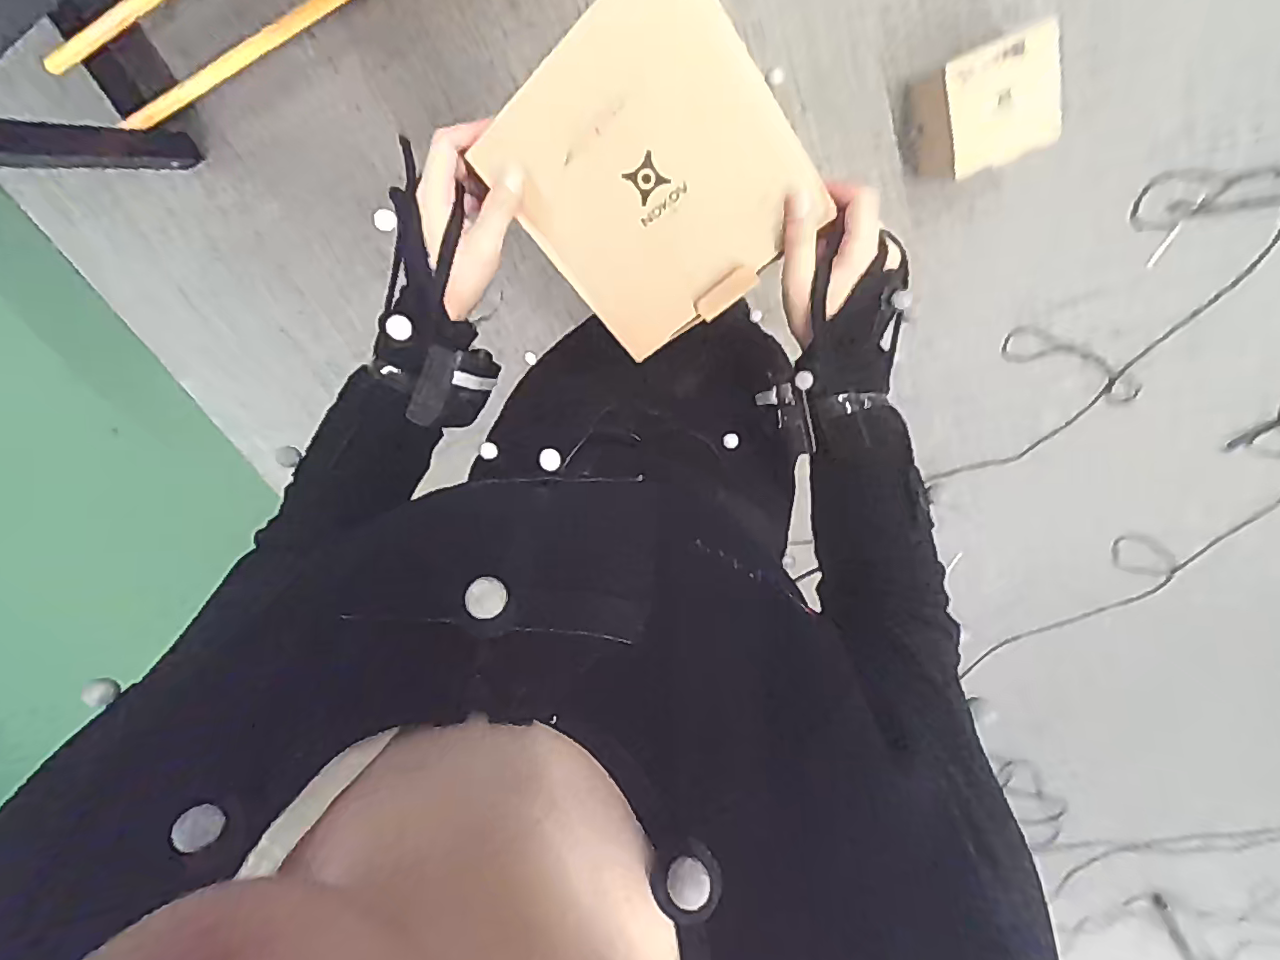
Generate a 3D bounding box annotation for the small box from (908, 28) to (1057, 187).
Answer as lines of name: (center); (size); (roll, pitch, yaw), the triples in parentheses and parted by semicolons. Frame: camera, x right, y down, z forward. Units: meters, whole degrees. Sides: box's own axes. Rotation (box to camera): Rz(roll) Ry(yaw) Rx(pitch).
small box: (0.592, -0.641, 0.949); (0.168, 0.176, 0.179); (-17, 118, 13)
